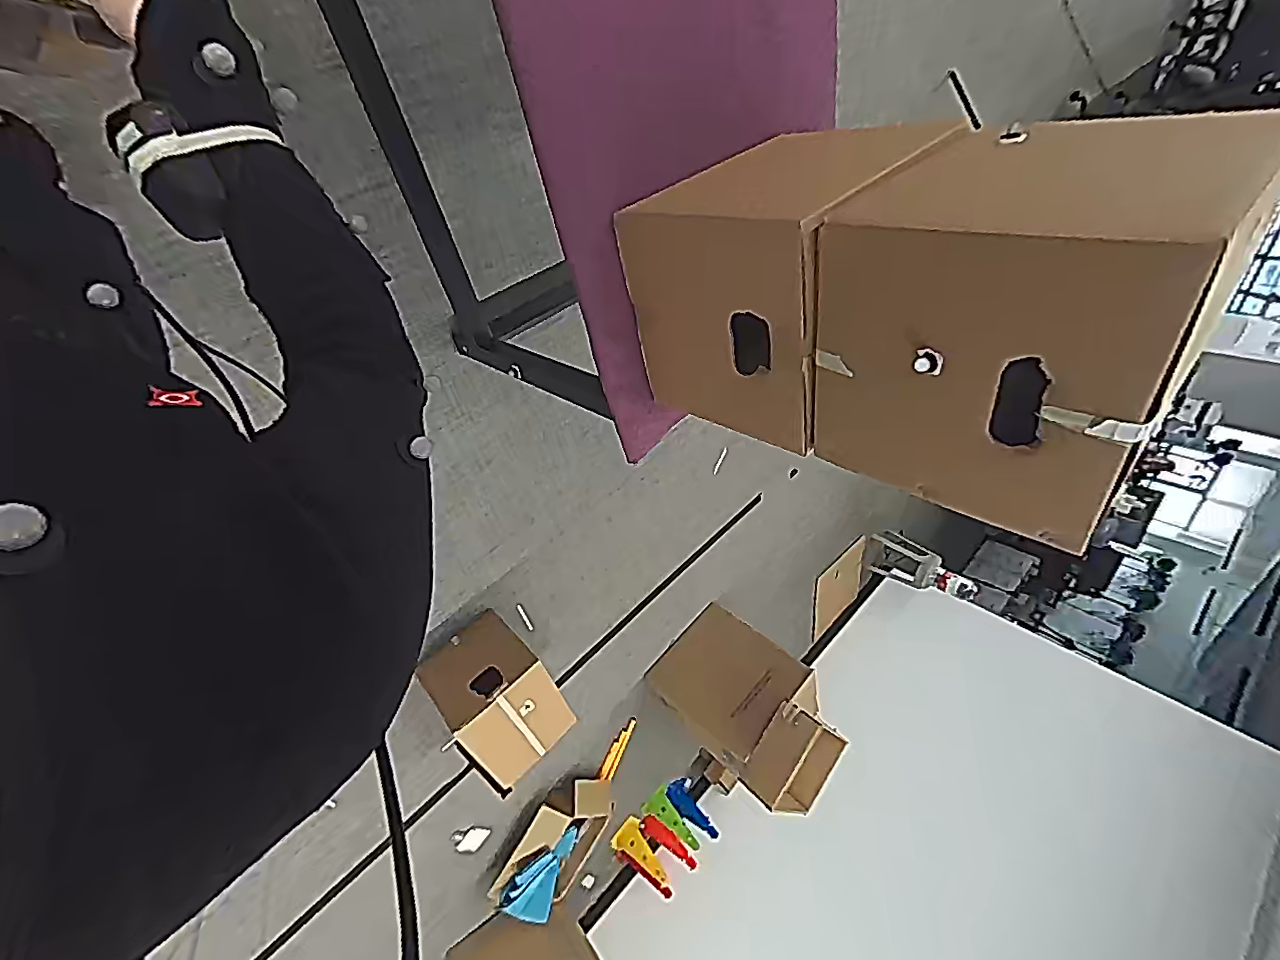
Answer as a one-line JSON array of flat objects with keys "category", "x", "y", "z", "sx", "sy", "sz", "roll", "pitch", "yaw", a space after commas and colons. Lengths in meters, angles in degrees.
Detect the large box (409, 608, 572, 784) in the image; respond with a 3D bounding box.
[{"category": "large box", "x": -0.486, "y": 0.711, "z": 1.798, "sx": 0.320, "sy": 0.320, "sz": 0.408, "roll": -39, "pitch": 134, "yaw": -25}]
